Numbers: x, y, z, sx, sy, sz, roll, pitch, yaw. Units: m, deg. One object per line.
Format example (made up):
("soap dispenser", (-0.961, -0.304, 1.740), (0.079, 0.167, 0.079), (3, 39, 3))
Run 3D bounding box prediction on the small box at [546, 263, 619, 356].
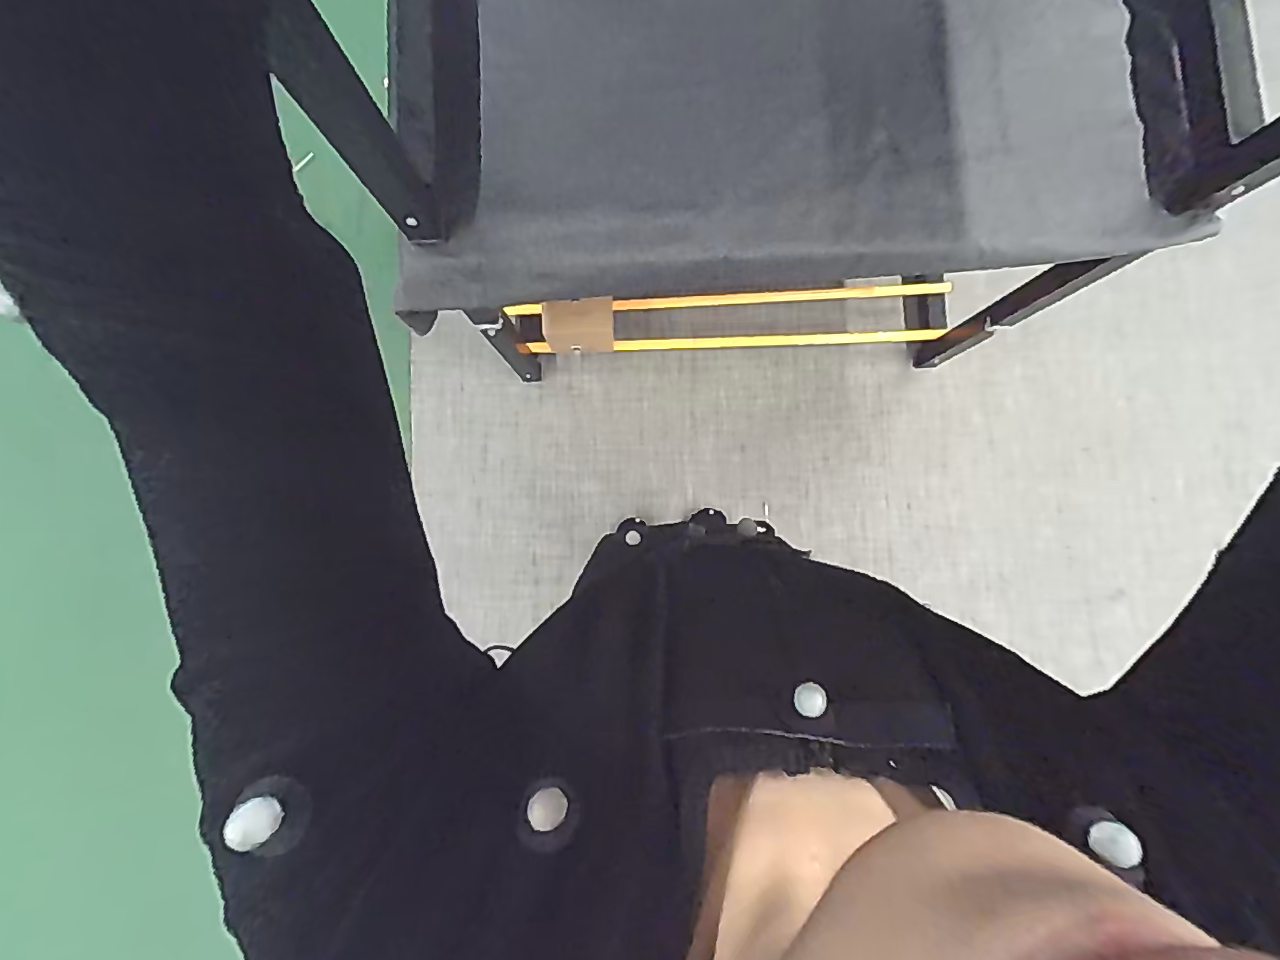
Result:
("small box", (-0.141, -0.424, 1.363), (0.168, 0.176, 0.179), (-2, 87, 1))
